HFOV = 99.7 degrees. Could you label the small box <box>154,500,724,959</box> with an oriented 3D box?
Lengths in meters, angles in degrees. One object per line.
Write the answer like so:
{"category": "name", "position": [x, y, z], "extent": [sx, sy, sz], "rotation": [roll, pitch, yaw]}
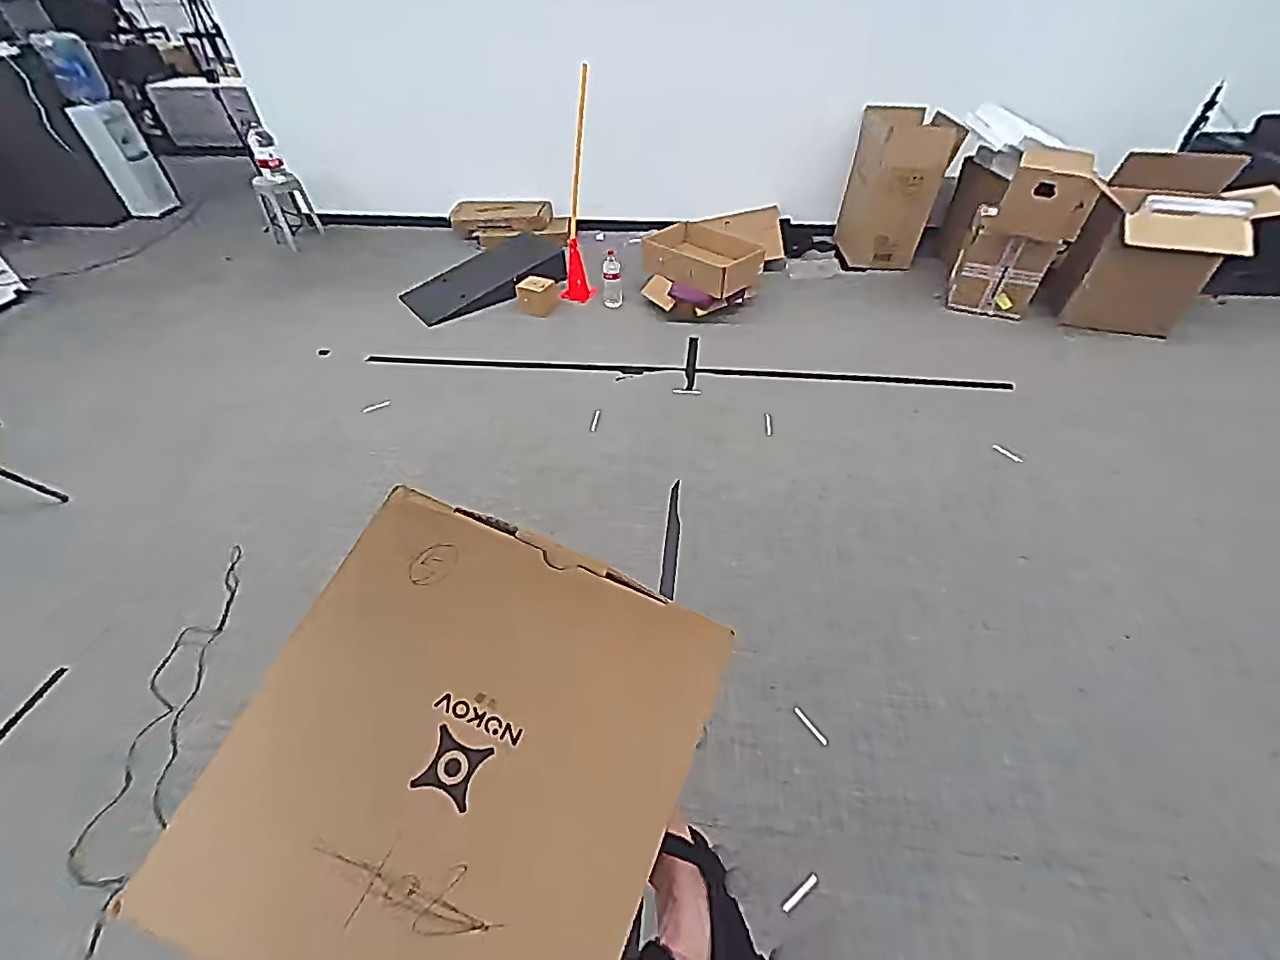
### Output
{"category": "small box", "position": [-0.073, 0.142, 0.290], "extent": [0.168, 0.176, 0.179], "rotation": [22, 68, 7]}
